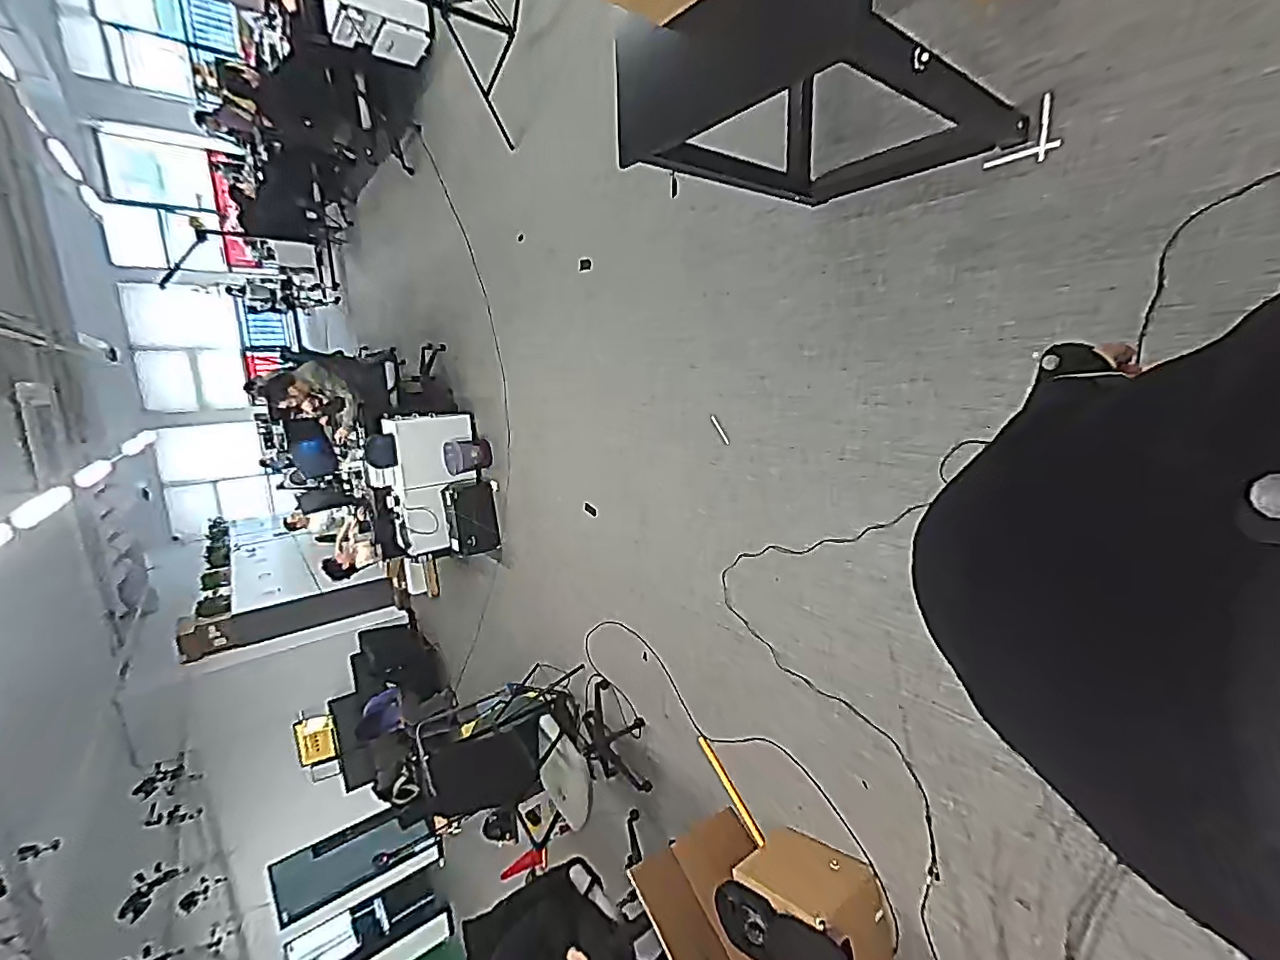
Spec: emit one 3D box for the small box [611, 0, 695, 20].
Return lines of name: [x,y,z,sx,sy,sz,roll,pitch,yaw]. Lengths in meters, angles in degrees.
small box: [0.034,-0.969,0.955,0.179,0.176,0.168,18,113,51]
